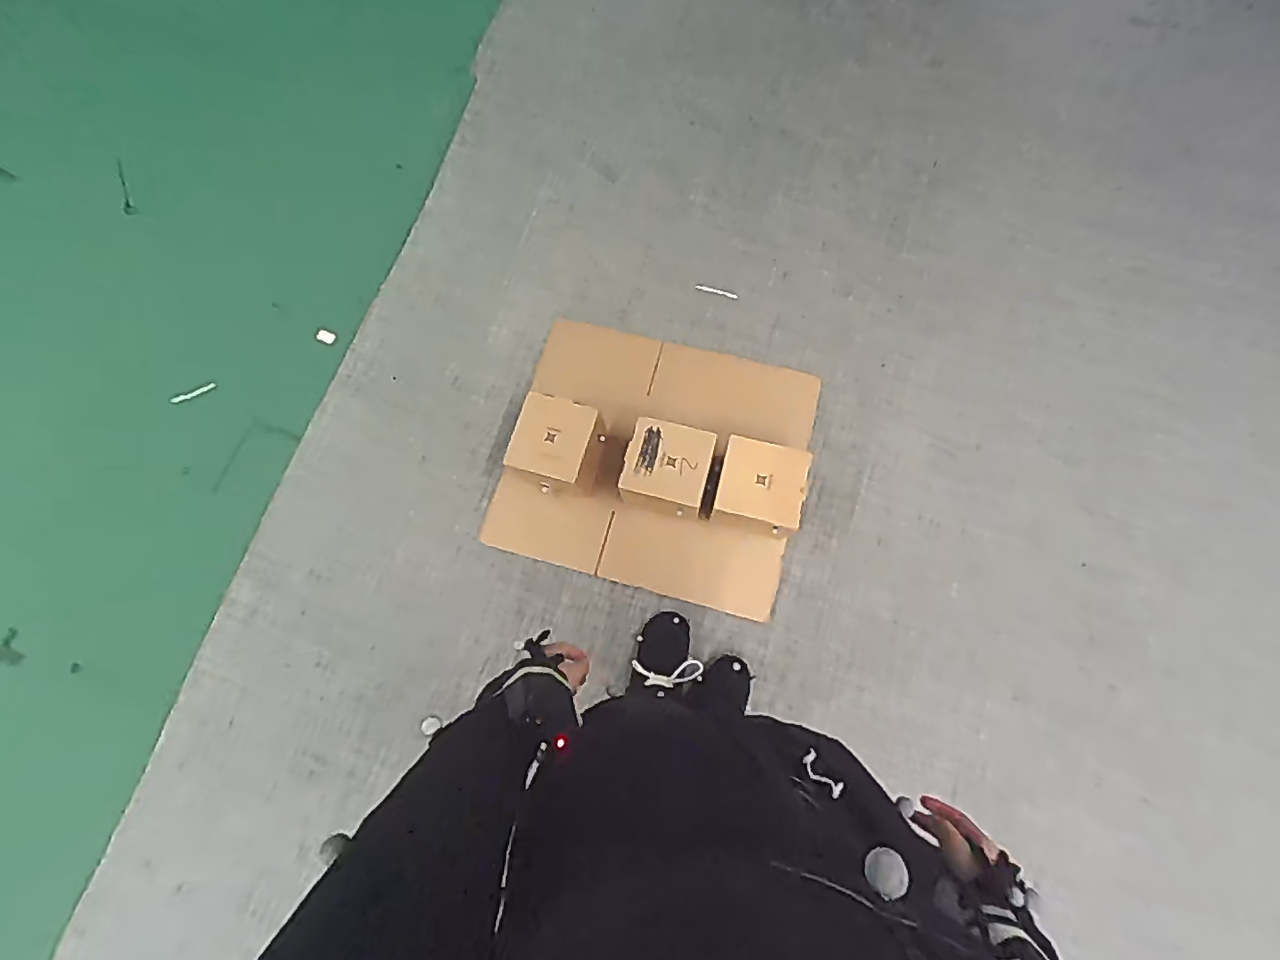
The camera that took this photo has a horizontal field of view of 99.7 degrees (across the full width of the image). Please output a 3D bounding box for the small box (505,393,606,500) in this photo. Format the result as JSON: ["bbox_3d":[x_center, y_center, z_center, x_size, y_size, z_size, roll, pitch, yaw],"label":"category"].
[{"bbox_3d":[-0.182,-0.070,1.229,0.168,0.176,0.179,15,79,8],"label":"small box"}]
